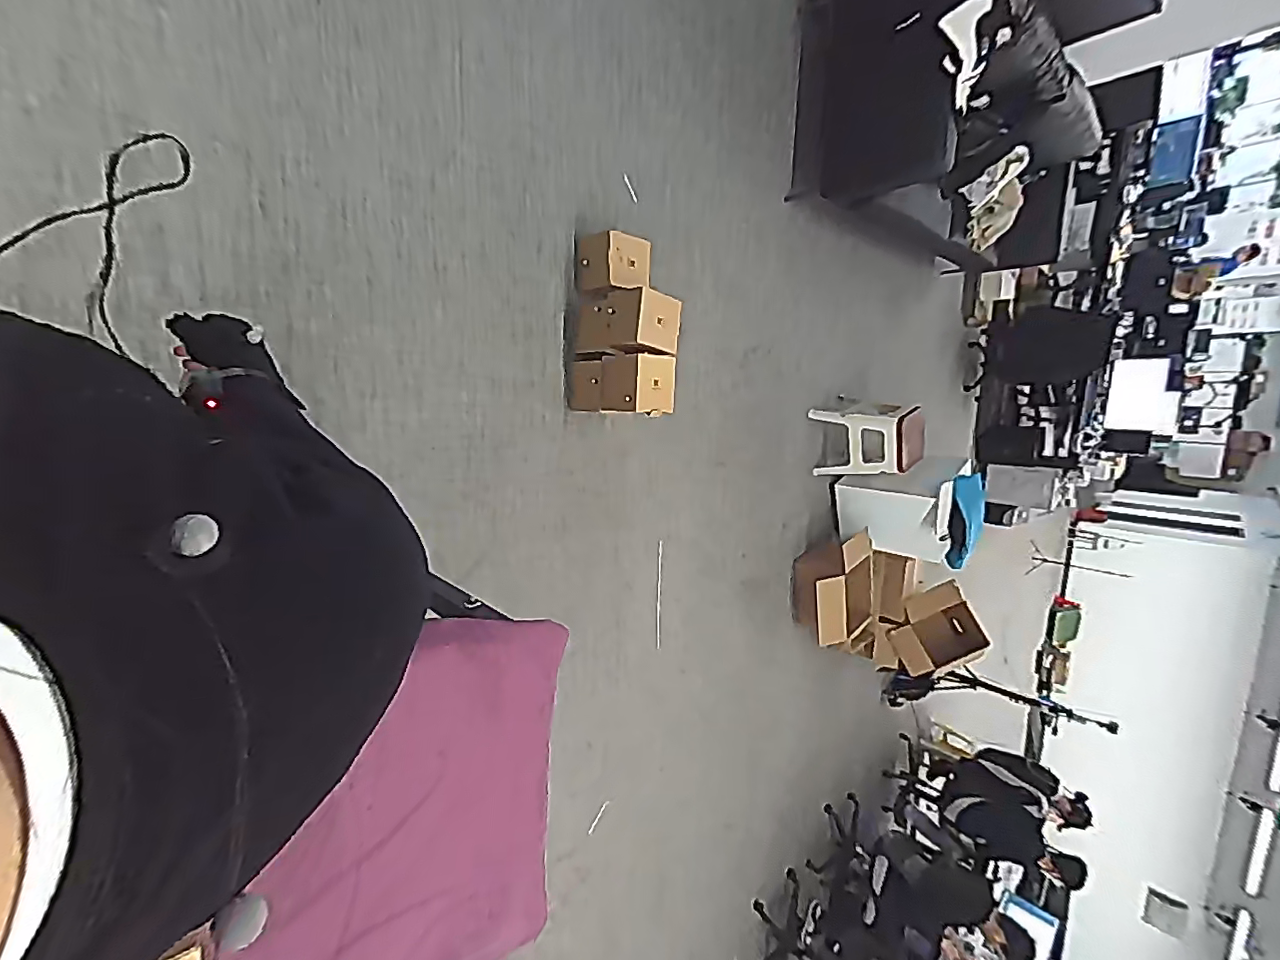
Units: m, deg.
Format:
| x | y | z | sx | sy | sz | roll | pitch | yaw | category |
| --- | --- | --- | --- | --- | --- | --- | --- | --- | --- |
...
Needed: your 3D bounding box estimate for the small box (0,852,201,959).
| x | y | z | sx | sy | sz | roll | pitch | yaw | category |
| --- | --- | --- | --- | --- | --- | --- | --- | --- | --- |
| -0.551 | 0.518 | 0.538 | 0.168 | 0.176 | 0.179 | -2 | 100 | -44 | small box |
